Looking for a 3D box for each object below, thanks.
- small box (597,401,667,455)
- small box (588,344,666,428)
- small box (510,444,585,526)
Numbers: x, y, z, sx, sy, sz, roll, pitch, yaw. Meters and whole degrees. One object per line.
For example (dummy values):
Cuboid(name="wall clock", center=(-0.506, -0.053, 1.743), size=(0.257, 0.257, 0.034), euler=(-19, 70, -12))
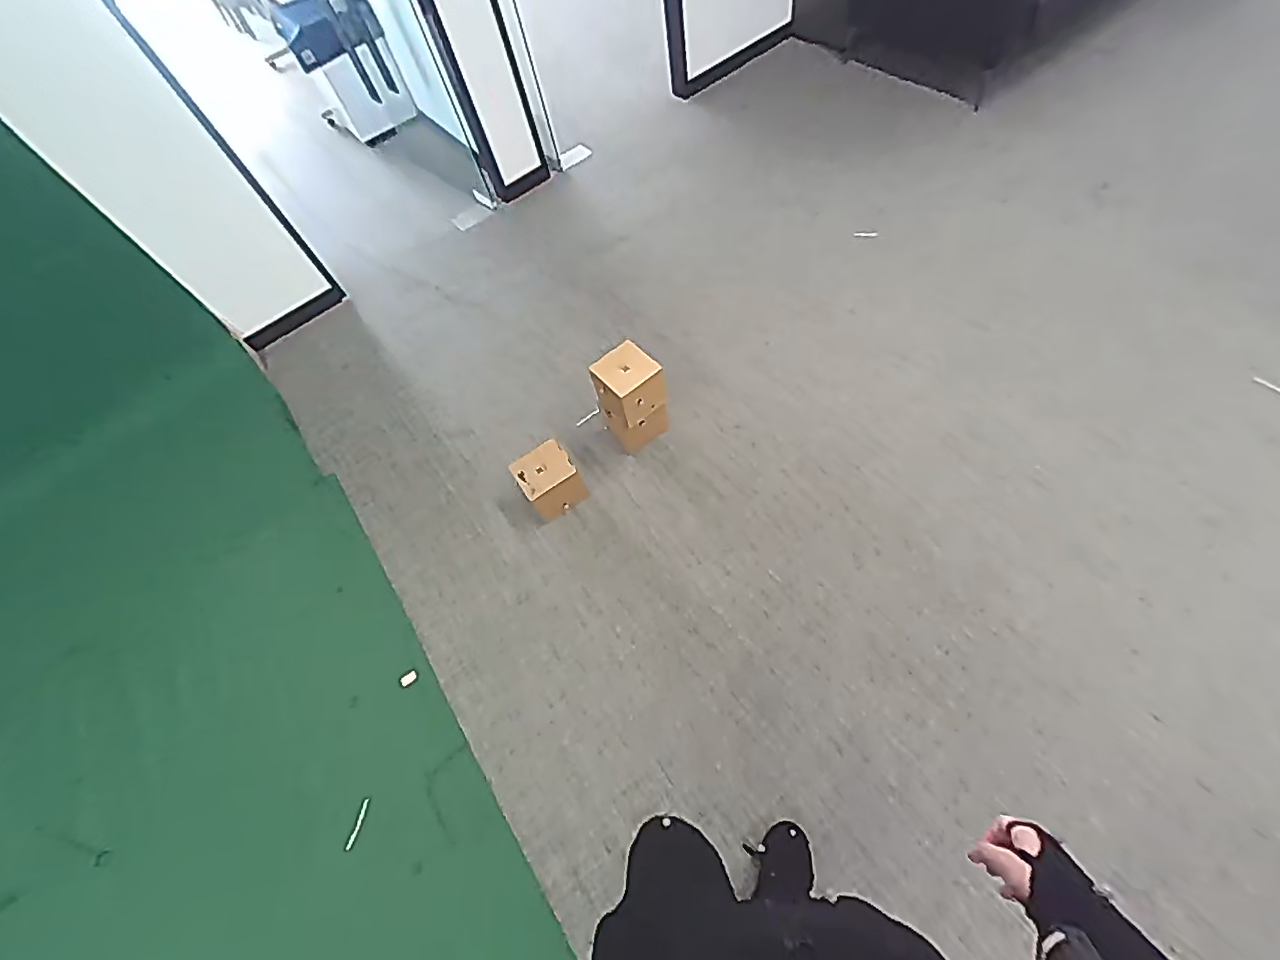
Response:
Cuboid(name="small box", center=(-0.022, -0.218, 1.877), size=(0.179, 0.176, 0.168), euler=(-35, 60, -11))
Cuboid(name="small box", center=(-0.034, -0.293, 1.733), size=(0.168, 0.176, 0.179), euler=(-39, 61, -12))
Cuboid(name="small box", center=(-0.296, 0.020, 1.791), size=(0.179, 0.176, 0.168), euler=(-34, 60, -10))
